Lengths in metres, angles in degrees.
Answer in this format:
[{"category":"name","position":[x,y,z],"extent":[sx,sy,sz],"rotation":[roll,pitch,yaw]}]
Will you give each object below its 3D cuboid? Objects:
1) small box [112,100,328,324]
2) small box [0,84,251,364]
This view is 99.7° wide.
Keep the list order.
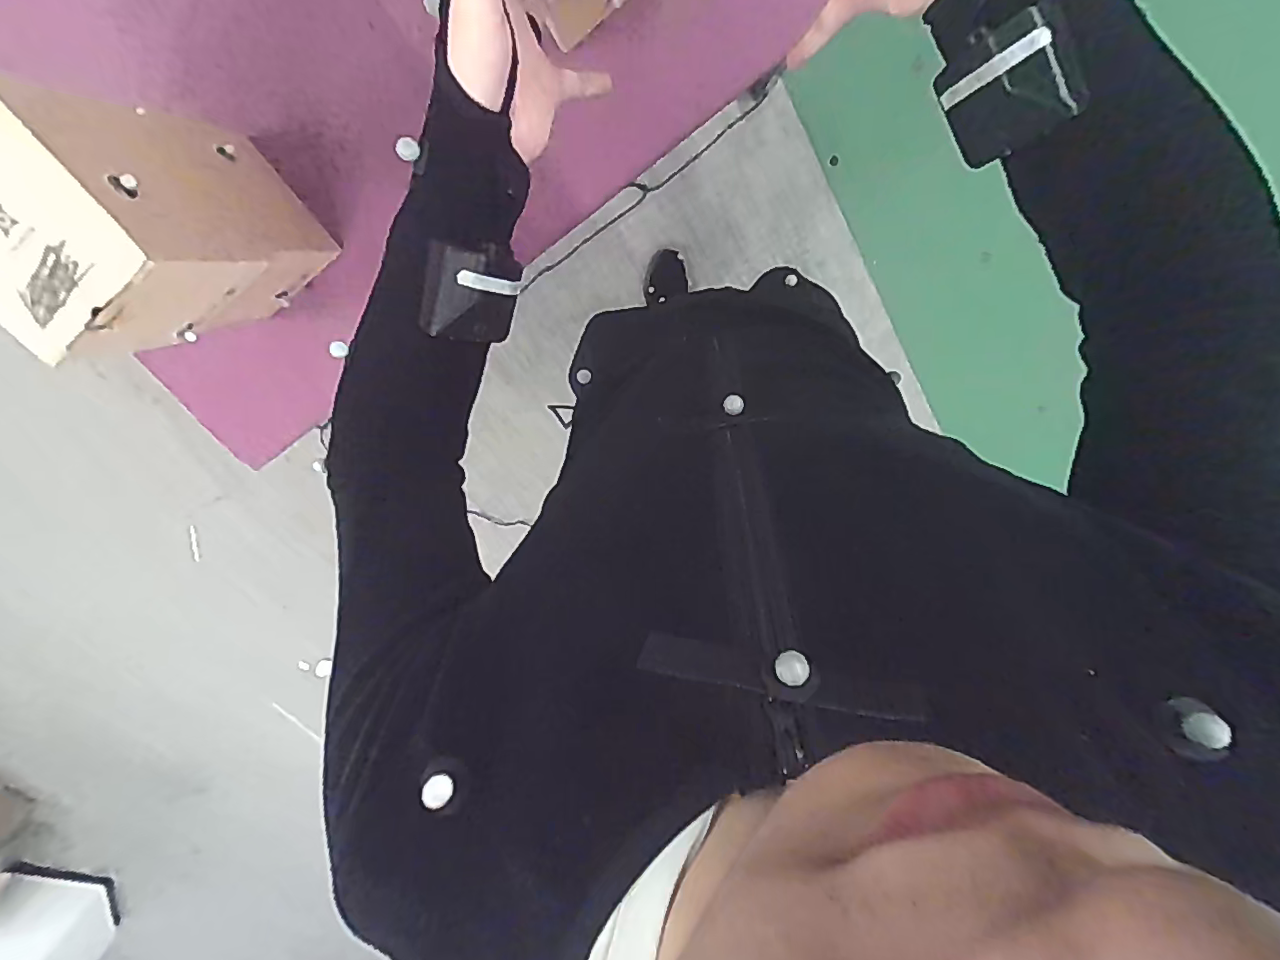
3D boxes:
[{"category":"small box","position":[-0.542,-0.313,0.669],"extent":[0.168,0.176,0.179],"rotation":[-33,109,13]},{"category":"small box","position":[-0.538,-0.241,0.522],"extent":[0.168,0.176,0.179],"rotation":[-32,108,13]}]
